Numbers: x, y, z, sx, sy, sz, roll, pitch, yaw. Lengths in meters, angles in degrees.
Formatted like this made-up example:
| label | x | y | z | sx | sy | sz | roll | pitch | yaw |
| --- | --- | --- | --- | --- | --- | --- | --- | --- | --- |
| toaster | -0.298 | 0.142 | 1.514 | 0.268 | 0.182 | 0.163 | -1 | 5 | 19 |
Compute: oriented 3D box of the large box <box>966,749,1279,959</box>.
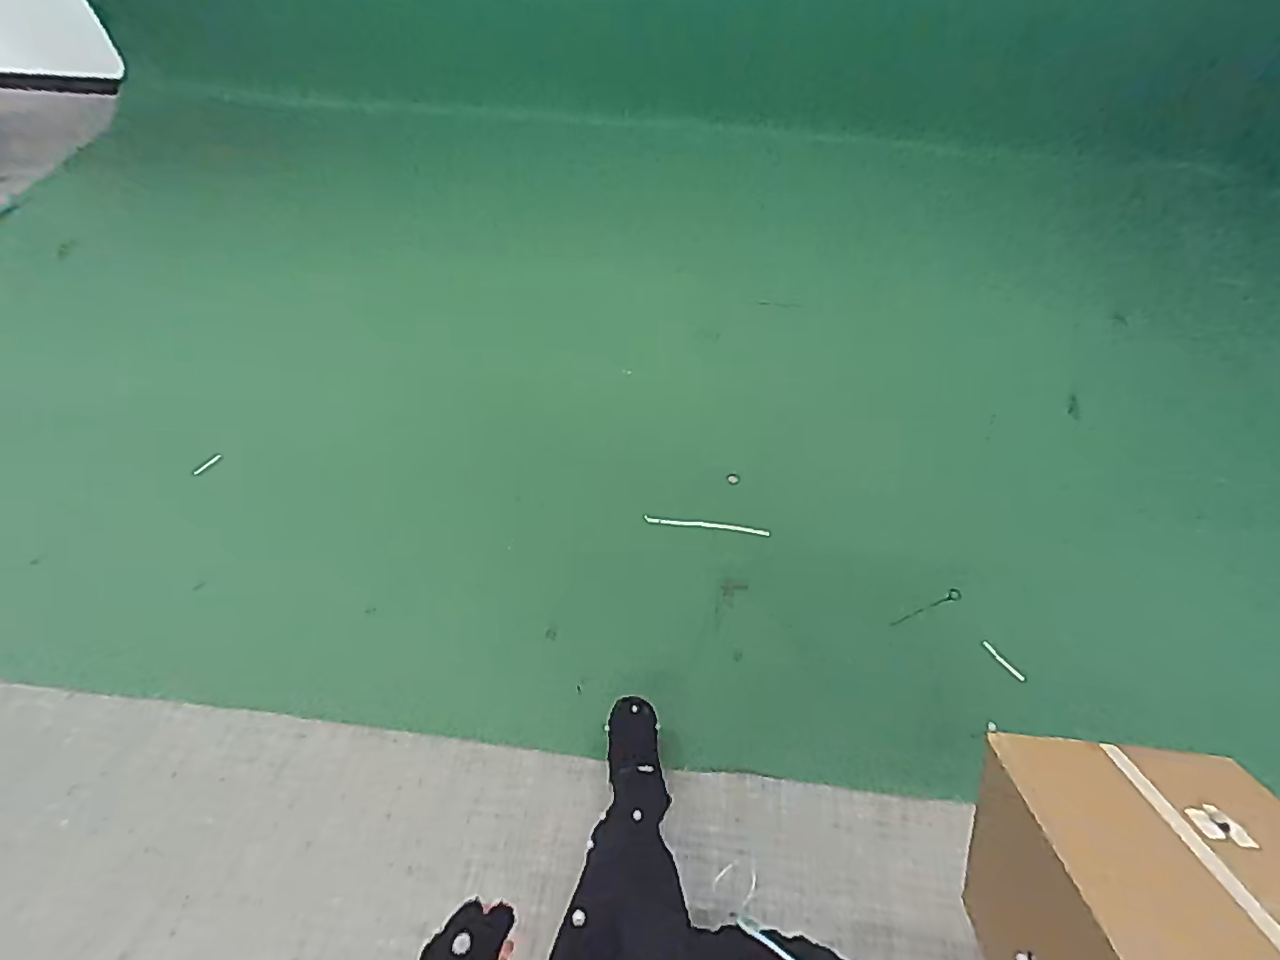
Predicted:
| label | x | y | z | sx | sy | sz | roll | pitch | yaw |
| --- | --- | --- | --- | --- | --- | --- | --- | --- | --- |
| large box | 0.633 | 0.596 | 0.631 | 0.320 | 0.320 | 0.408 | 2 | 13 | 11 |
